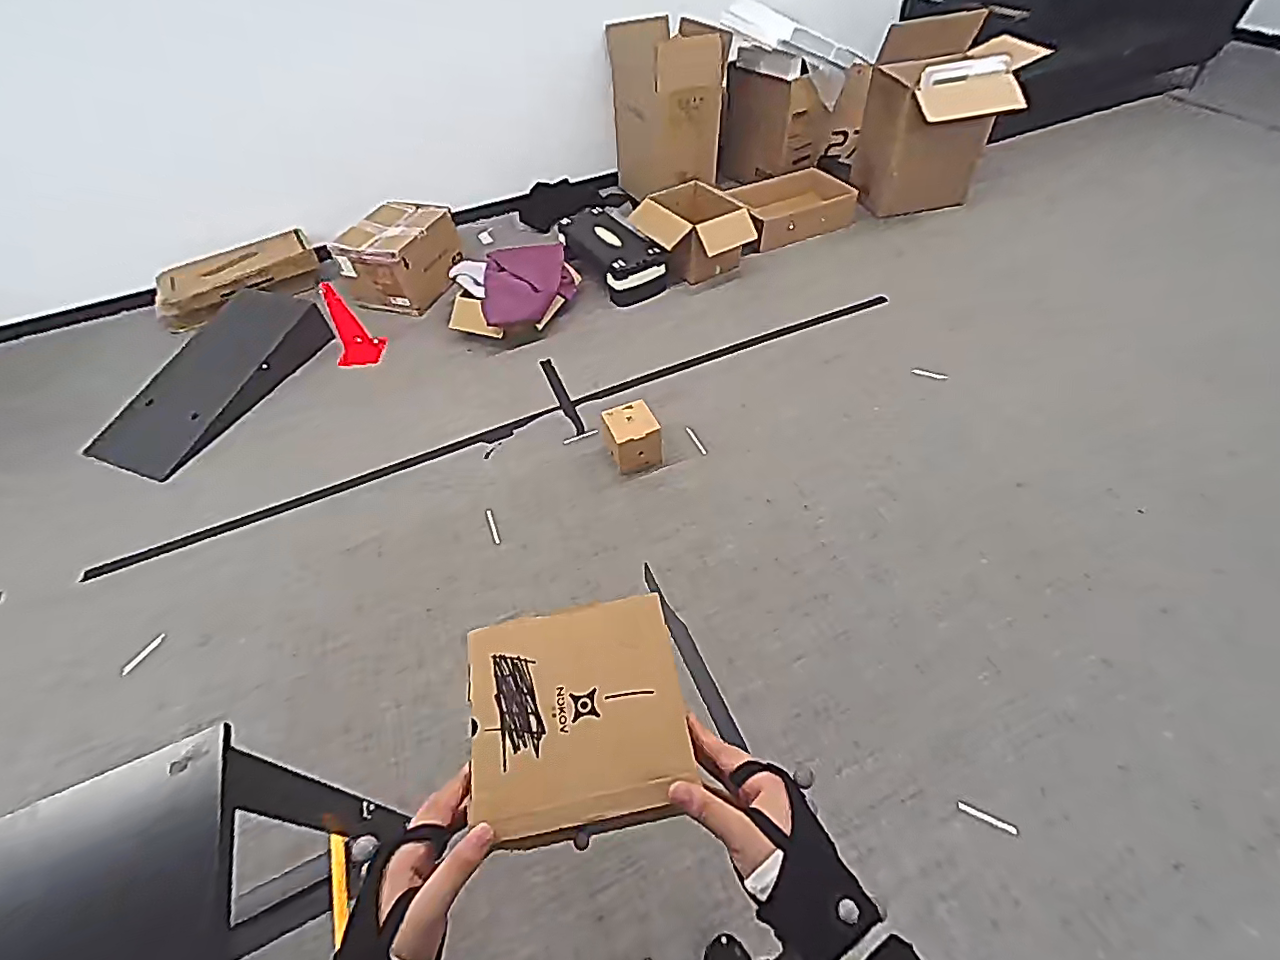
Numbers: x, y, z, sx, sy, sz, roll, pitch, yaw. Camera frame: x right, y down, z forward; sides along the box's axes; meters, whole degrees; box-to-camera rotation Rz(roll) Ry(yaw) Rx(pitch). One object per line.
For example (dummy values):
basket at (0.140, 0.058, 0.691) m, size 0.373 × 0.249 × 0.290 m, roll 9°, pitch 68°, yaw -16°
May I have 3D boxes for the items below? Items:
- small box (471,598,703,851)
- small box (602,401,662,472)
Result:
small box at (-0.044, 0.232, 0.502) m, size 0.179 × 0.176 × 0.168 m, roll -11°, pitch 56°, yaw -3°
small box at (-0.027, -0.150, 1.962) m, size 0.168 × 0.176 × 0.179 m, roll -20°, pitch 52°, yaw -11°
